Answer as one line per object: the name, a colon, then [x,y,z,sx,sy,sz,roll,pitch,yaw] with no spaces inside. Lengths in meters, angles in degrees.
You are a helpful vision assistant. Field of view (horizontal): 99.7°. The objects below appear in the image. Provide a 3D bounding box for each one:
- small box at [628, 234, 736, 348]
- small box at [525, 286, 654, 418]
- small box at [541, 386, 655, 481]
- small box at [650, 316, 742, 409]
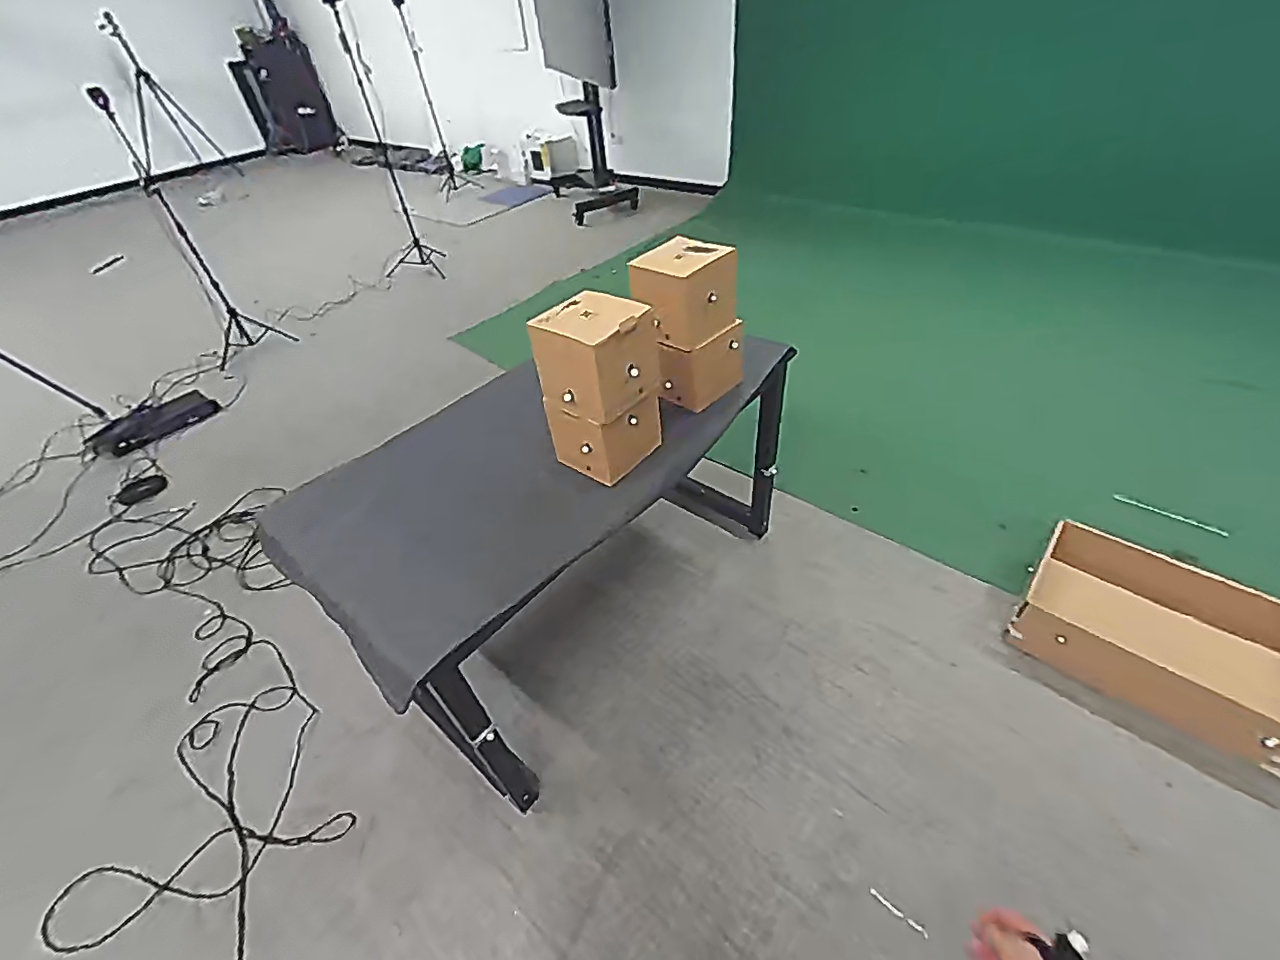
small box: [0.095,-0.419,1.199,0.168,0.176,0.179,29,55,34]
small box: [-0.086,-0.241,1.031,0.179,0.176,0.168,27,52,31]
small box: [-0.080,-0.126,1.149,0.168,0.176,0.179,27,51,30]
small box: [0.128,-0.301,1.309,0.168,0.176,0.179,31,55,35]
